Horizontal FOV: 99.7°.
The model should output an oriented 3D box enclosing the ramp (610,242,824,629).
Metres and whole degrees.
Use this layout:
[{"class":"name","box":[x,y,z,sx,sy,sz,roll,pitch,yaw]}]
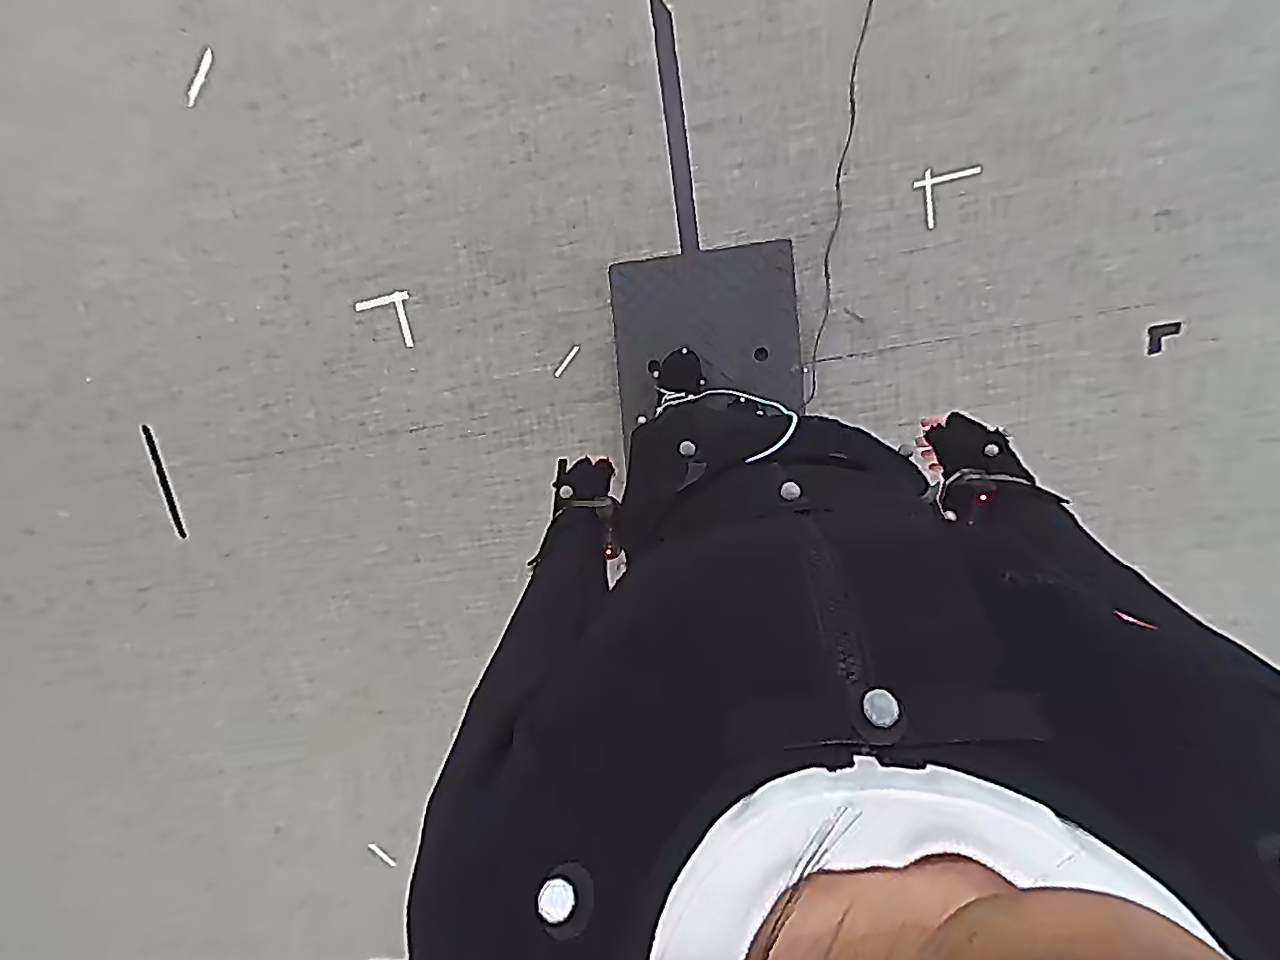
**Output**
[{"class":"ramp","box":[0.196,-0.105,1.453,0.509,0.206,0.991,-7,100,10]}]
